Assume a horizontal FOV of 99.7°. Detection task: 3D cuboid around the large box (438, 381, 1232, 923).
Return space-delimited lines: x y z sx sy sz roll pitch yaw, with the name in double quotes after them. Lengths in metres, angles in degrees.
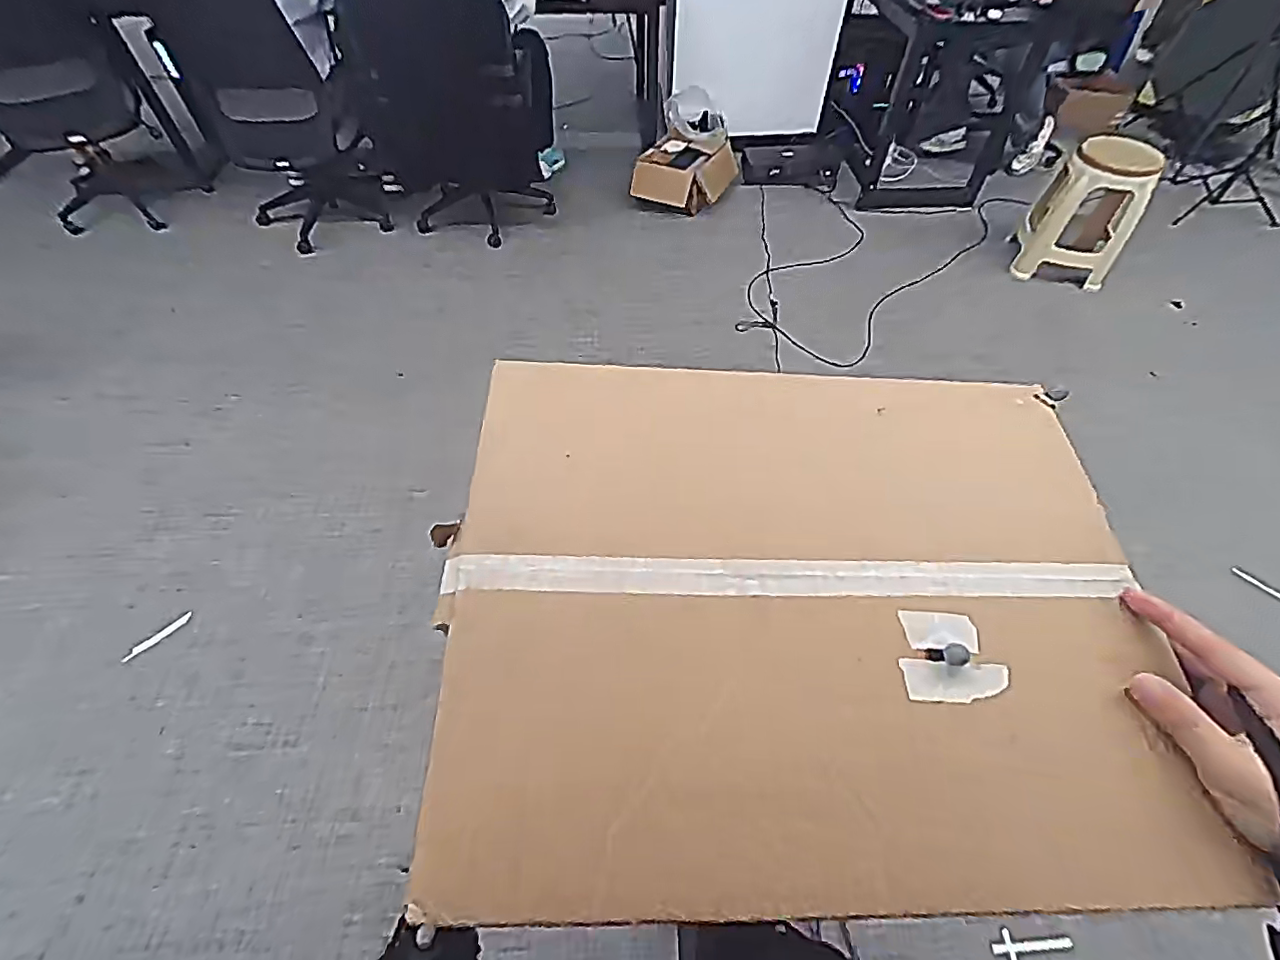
0.087 0.138 0.458 0.408 0.320 0.320 2 61 -5 "large box"
